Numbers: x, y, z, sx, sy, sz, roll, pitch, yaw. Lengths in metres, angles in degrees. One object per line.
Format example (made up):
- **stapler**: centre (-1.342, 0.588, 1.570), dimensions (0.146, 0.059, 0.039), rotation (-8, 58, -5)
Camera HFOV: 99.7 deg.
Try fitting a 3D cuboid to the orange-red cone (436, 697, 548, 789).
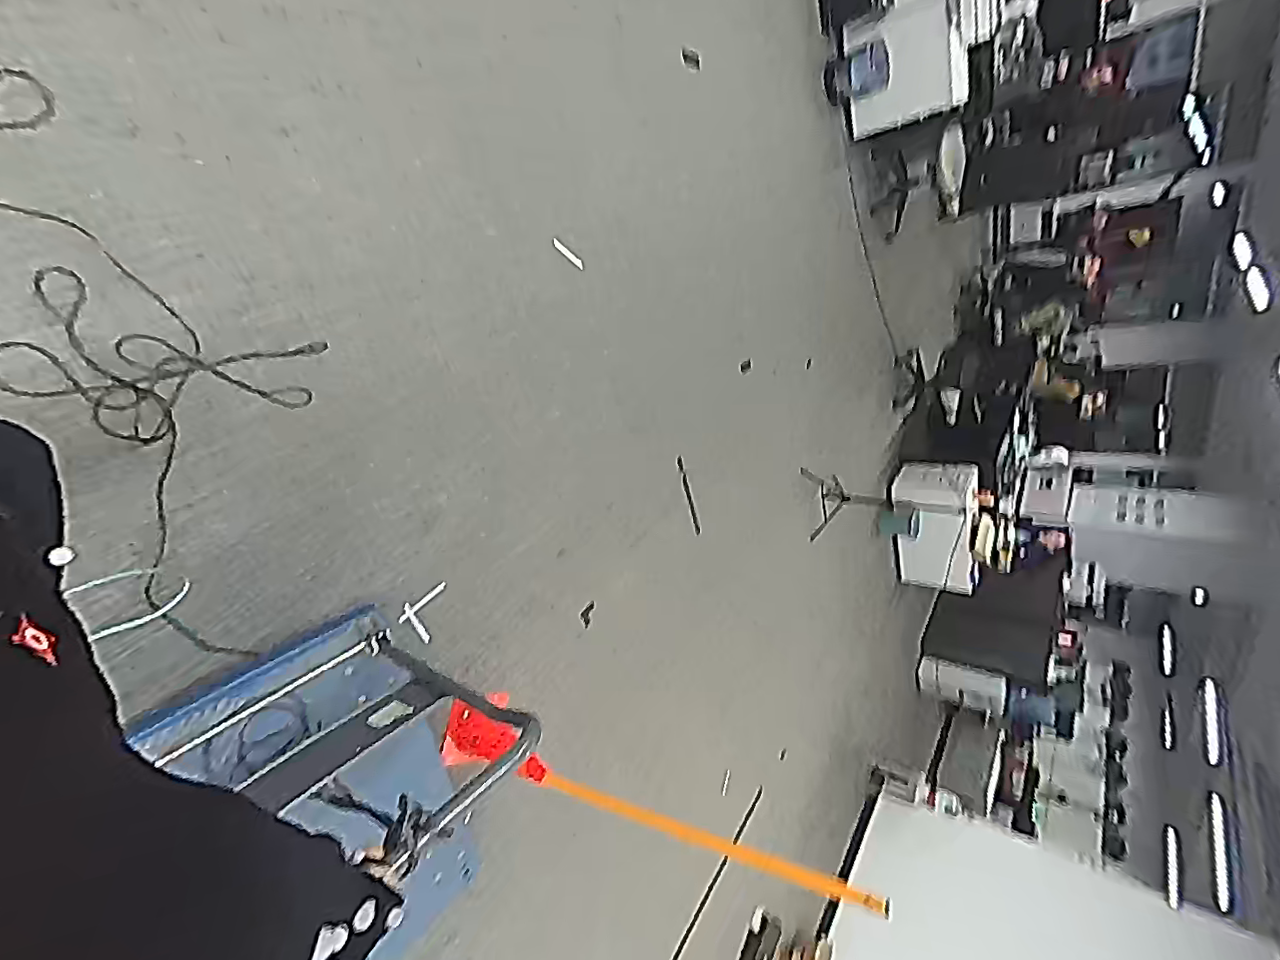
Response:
- **orange-red cone**: centre (-0.387, 0.781, 1.537), dimensions (0.198, 0.360, 0.199), rotation (22, 79, -47)
